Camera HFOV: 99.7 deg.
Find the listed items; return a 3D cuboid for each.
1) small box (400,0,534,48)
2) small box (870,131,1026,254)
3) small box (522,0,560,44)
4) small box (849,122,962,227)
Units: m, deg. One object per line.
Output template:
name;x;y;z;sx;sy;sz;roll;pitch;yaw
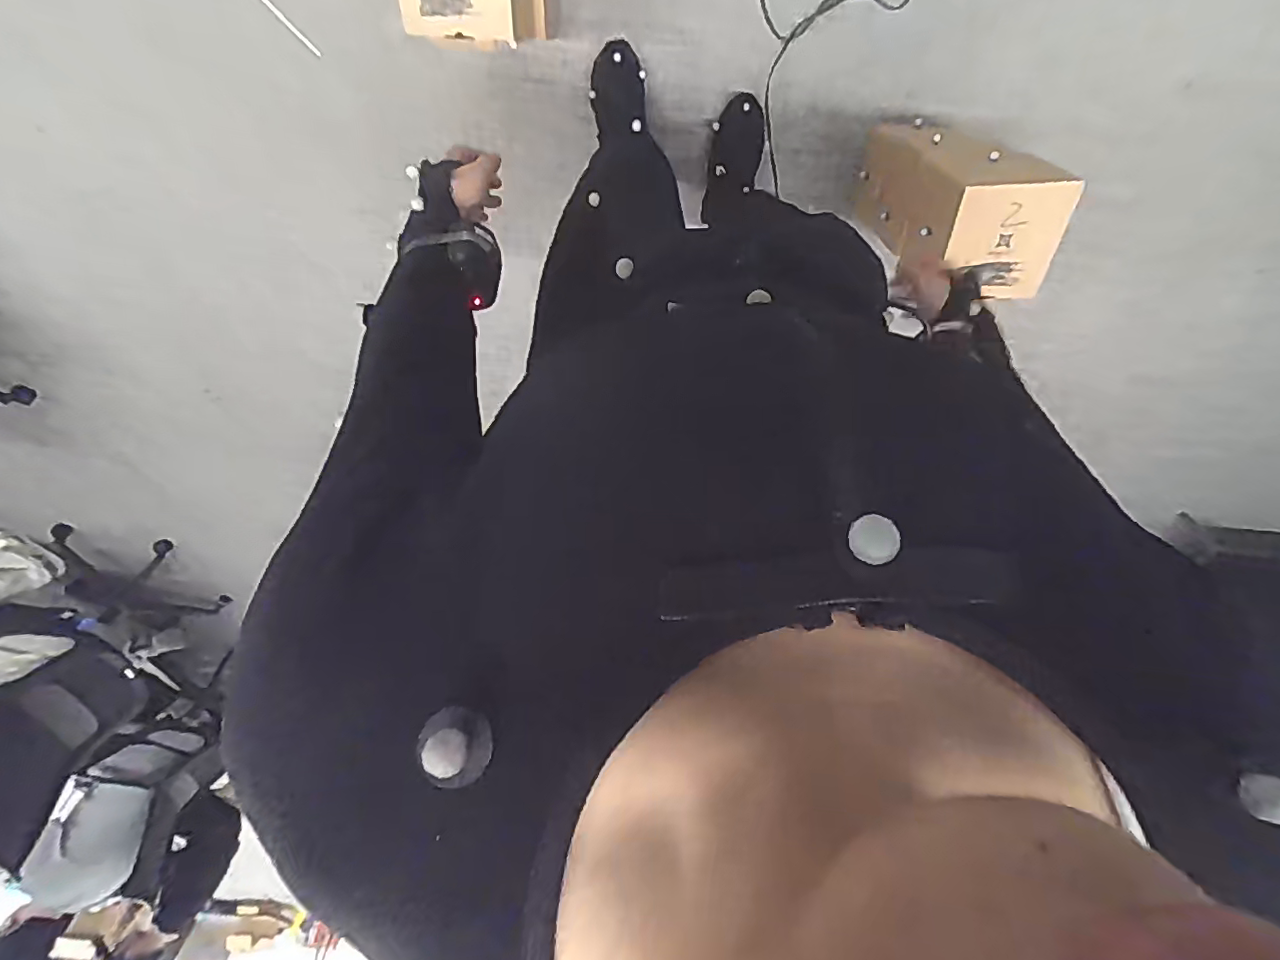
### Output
small box;-0.261;-0.775;0.817;0.168;0.176;0.179;4;131;0
small box;0.550;-0.532;1.001;0.179;0.176;0.168;0;134;1
small box;-0.237;-0.880;0.943;0.168;0.176;0.179;3;132;1
small box;0.557;-0.635;1.128;0.179;0.176;0.168;4;133;0
